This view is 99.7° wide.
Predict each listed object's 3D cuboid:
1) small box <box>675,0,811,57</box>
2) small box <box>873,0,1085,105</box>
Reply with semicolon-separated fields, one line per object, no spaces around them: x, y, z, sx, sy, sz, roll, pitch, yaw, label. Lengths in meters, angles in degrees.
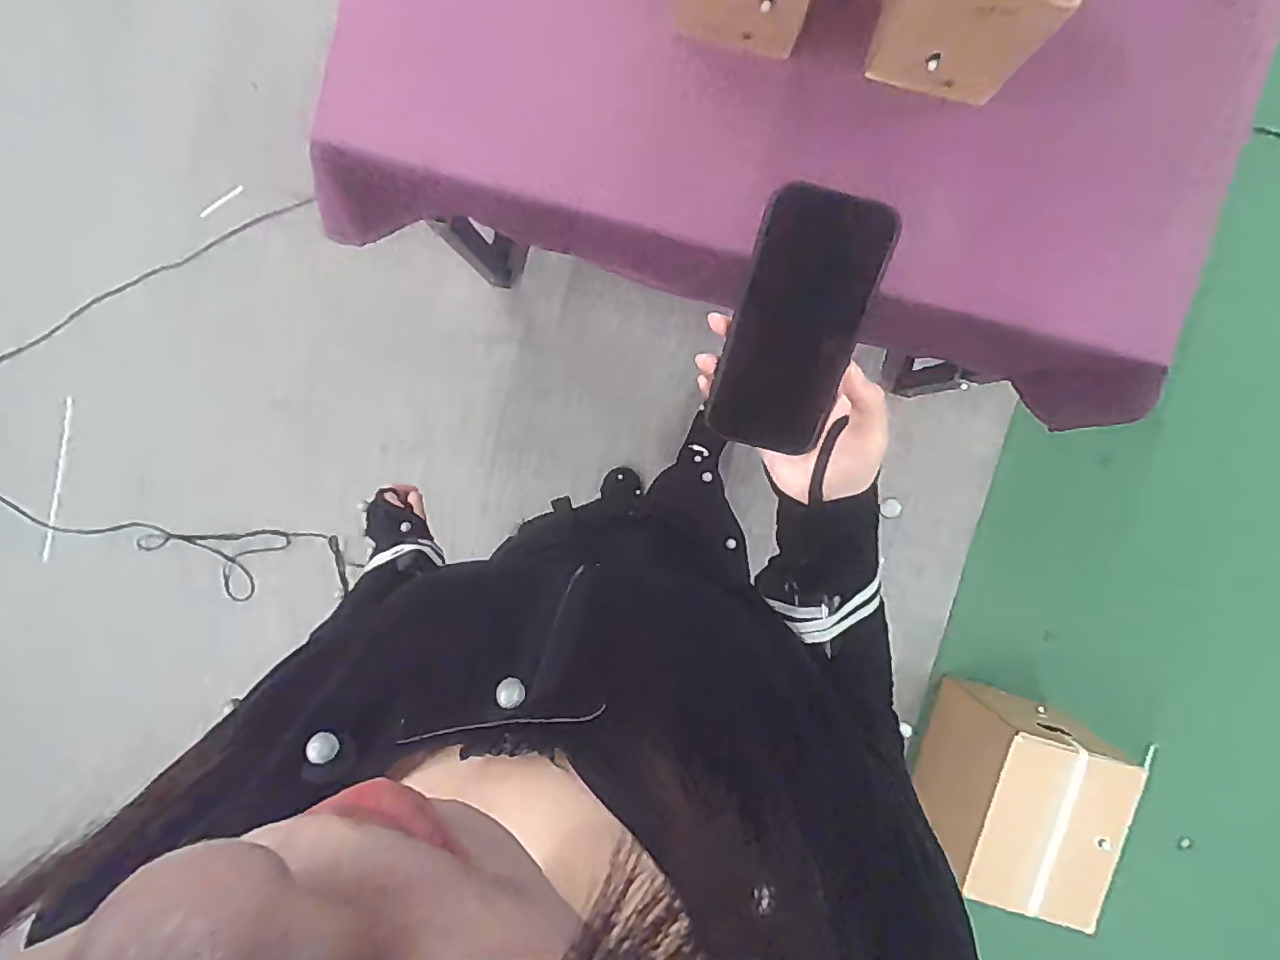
0.139;-0.650;0.630;0.168;0.176;0.179;15;94;0;small box
0.398;-0.591;0.628;0.168;0.176;0.179;15;95;0;small box
